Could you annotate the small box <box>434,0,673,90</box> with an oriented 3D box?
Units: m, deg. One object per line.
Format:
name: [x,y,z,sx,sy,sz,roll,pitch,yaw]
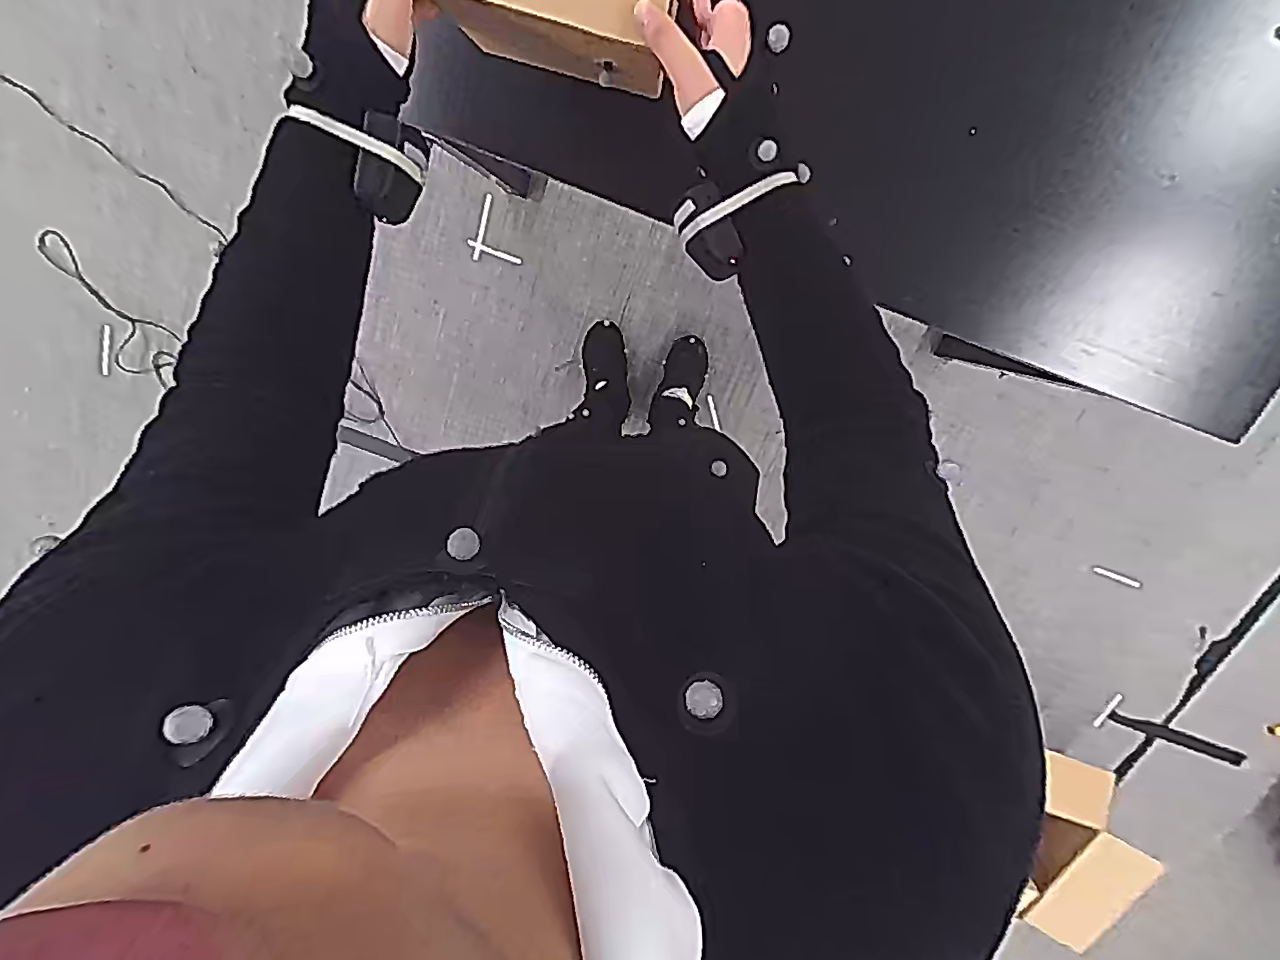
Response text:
small box: [-0.053,-0.433,0.421,0.179,0.176,0.168,12,113,-4]
